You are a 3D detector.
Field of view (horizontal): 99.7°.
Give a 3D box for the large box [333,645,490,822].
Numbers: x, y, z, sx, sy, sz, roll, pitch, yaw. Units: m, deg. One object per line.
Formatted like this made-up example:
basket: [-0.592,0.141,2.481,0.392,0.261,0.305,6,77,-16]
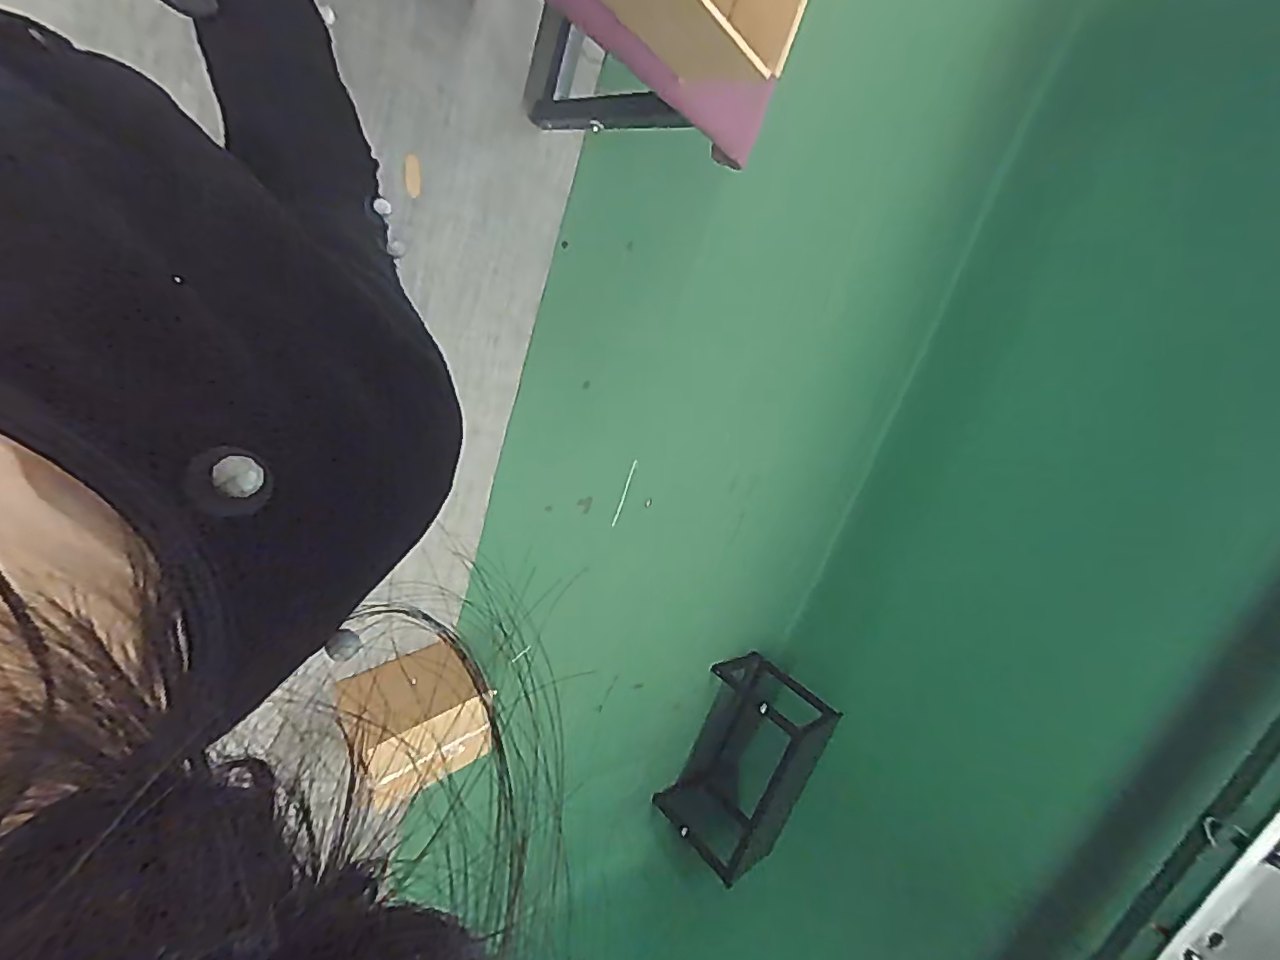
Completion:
large box: [-0.771,0.840,1.850,0.408,0.320,0.320,-16,124,-41]
